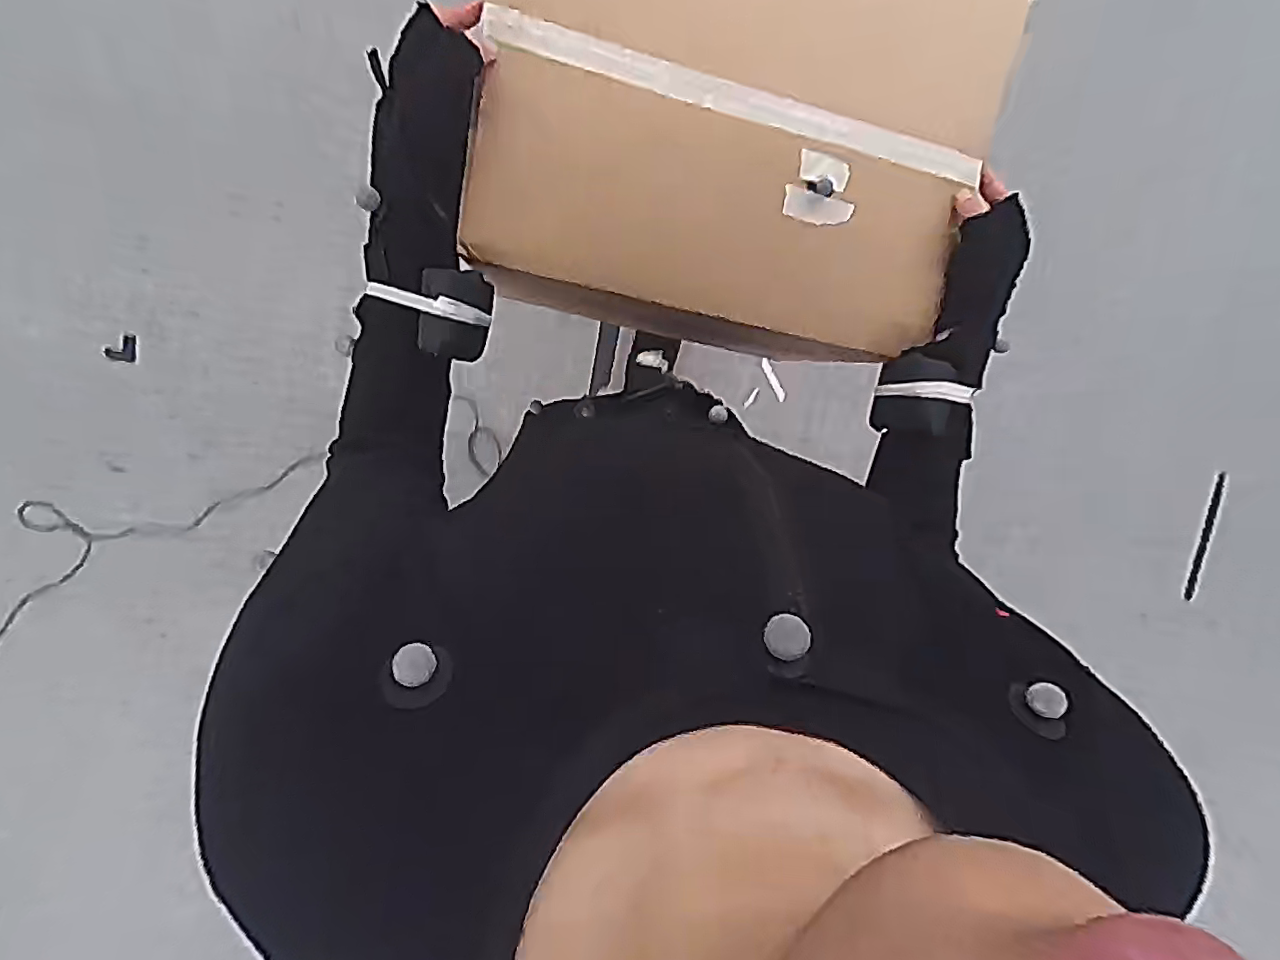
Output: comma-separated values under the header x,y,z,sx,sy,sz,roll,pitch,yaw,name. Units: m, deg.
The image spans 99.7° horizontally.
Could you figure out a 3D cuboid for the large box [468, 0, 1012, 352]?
x,y,z,sx,sy,sz,roll,pitch,yaw,name
0.059,-0.326,0.566,0.408,0.320,0.320,9,102,-12,large box
